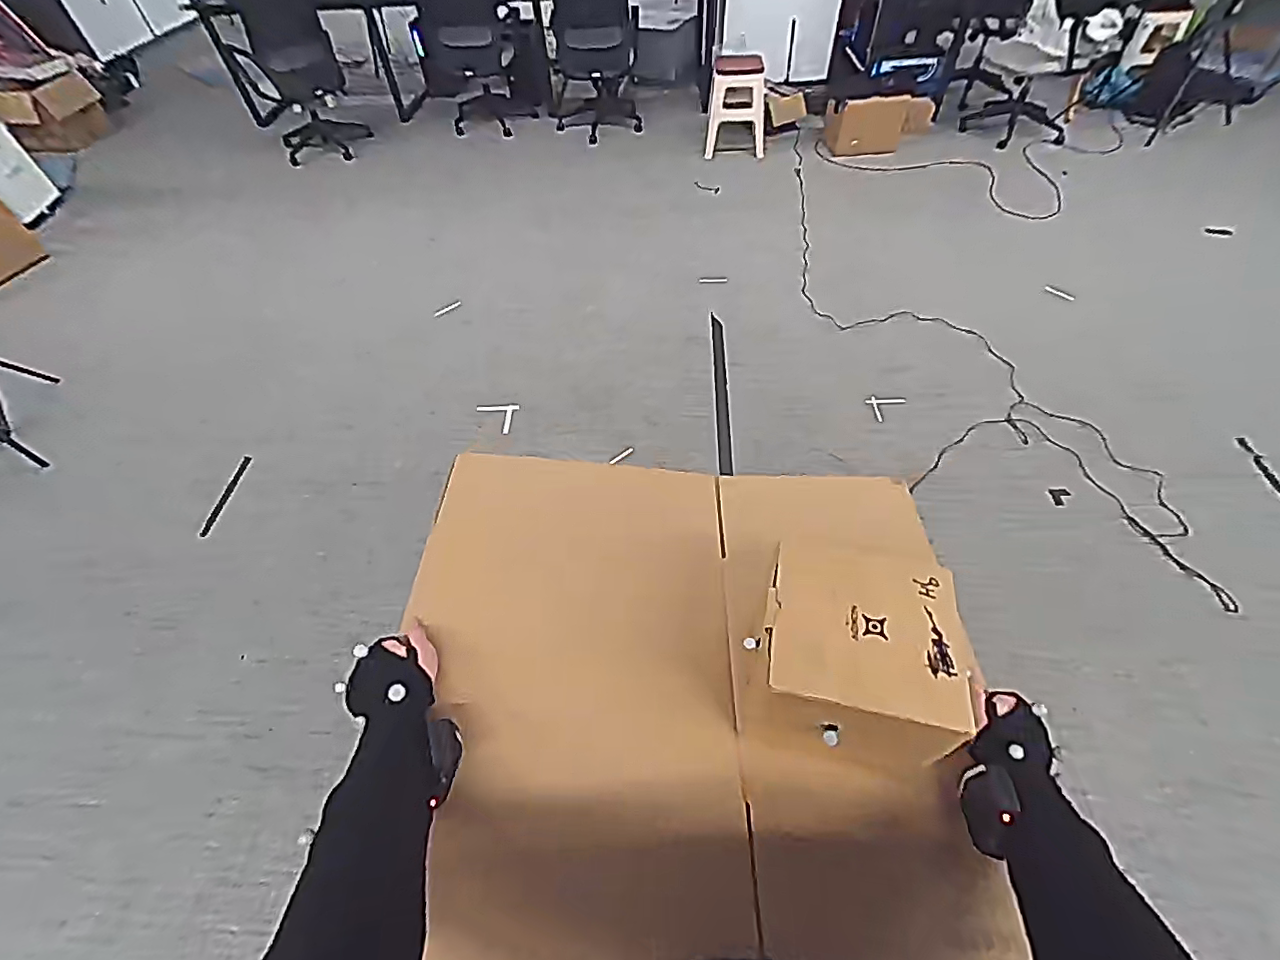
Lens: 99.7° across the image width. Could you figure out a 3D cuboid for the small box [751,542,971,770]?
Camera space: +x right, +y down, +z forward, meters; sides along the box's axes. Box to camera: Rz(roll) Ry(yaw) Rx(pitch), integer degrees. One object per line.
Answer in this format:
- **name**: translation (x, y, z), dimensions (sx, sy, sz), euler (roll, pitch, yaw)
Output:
- **small box**: translation (0.220, 0.192, 0.584), dimensions (0.179, 0.176, 0.168), euler (8, 50, 10)
